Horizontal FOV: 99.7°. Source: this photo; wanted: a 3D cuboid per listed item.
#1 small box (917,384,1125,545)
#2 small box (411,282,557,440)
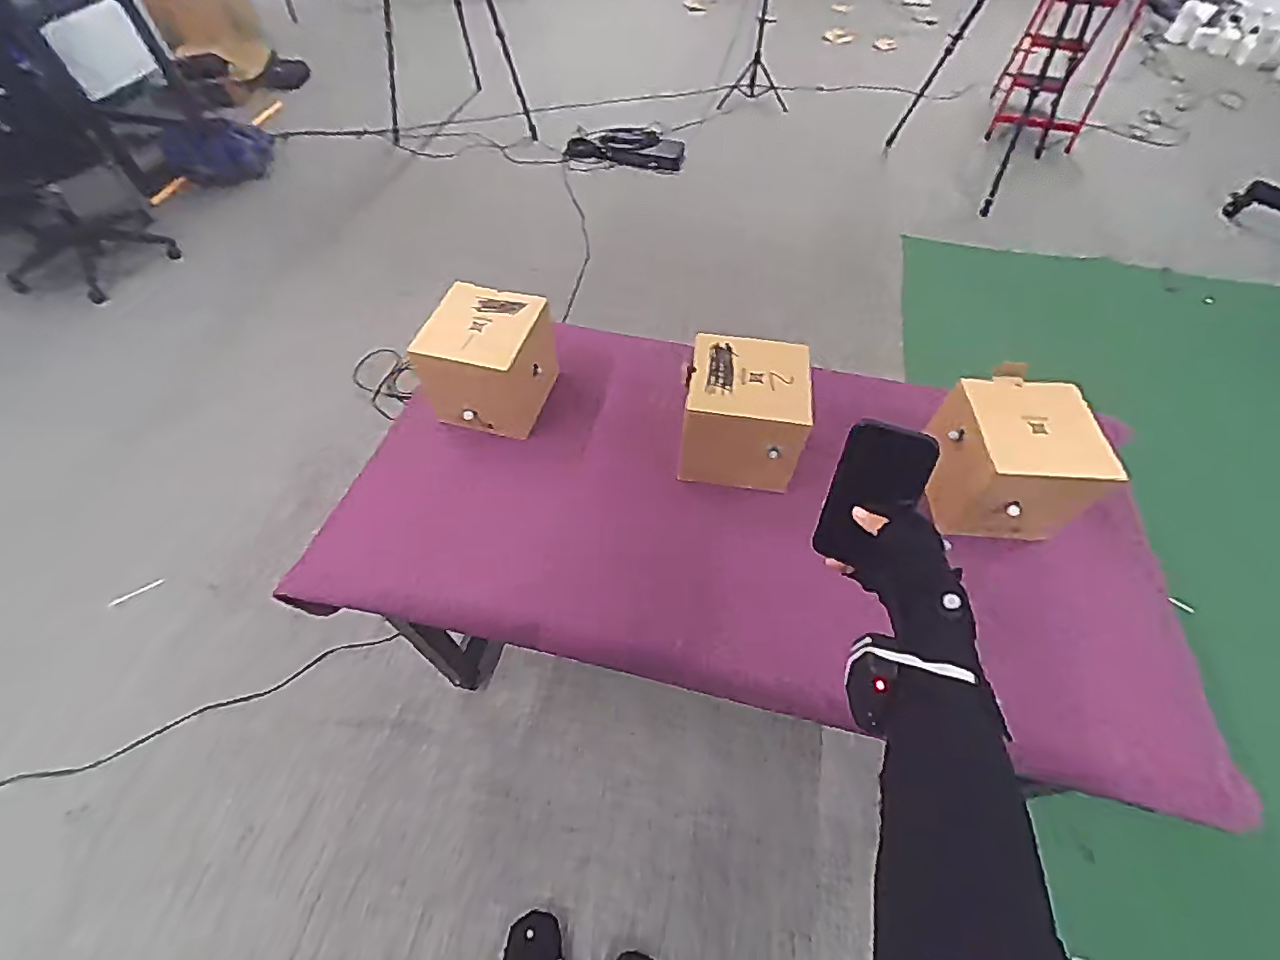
[{"bbox_3d":[0.541,-0.018,0.800,0.168,0.176,0.179,3,54,2],"label":"small box"},{"bbox_3d":[-0.246,-0.197,0.909,0.168,0.176,0.179,13,57,8],"label":"small box"}]
